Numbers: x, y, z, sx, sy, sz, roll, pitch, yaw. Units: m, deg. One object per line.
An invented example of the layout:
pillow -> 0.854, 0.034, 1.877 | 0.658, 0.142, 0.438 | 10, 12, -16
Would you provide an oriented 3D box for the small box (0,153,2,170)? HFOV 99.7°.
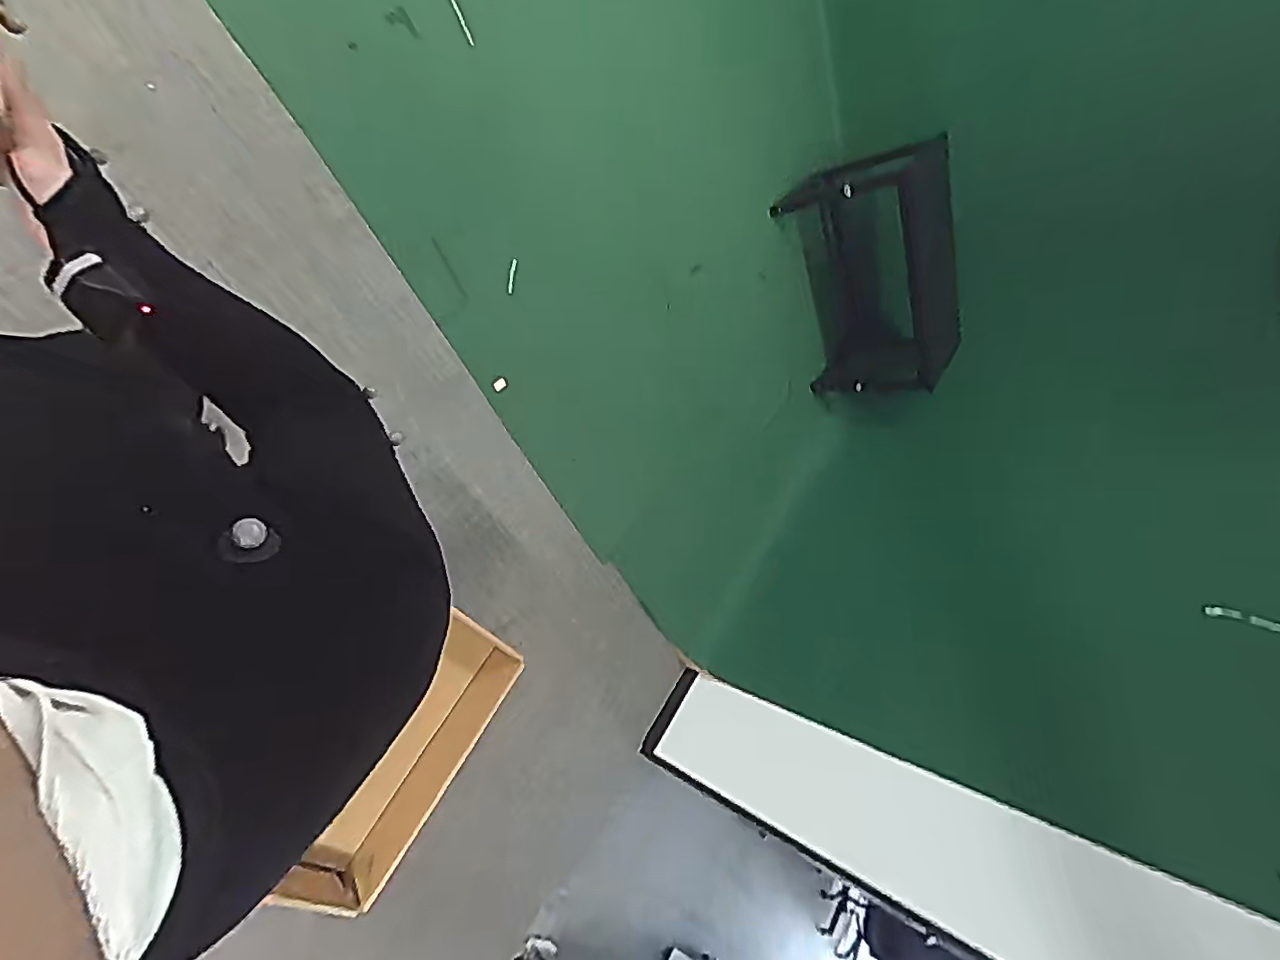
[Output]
small box -> -0.647, -0.362, 0.427 | 0.168, 0.176, 0.179 | -13, 109, -47
